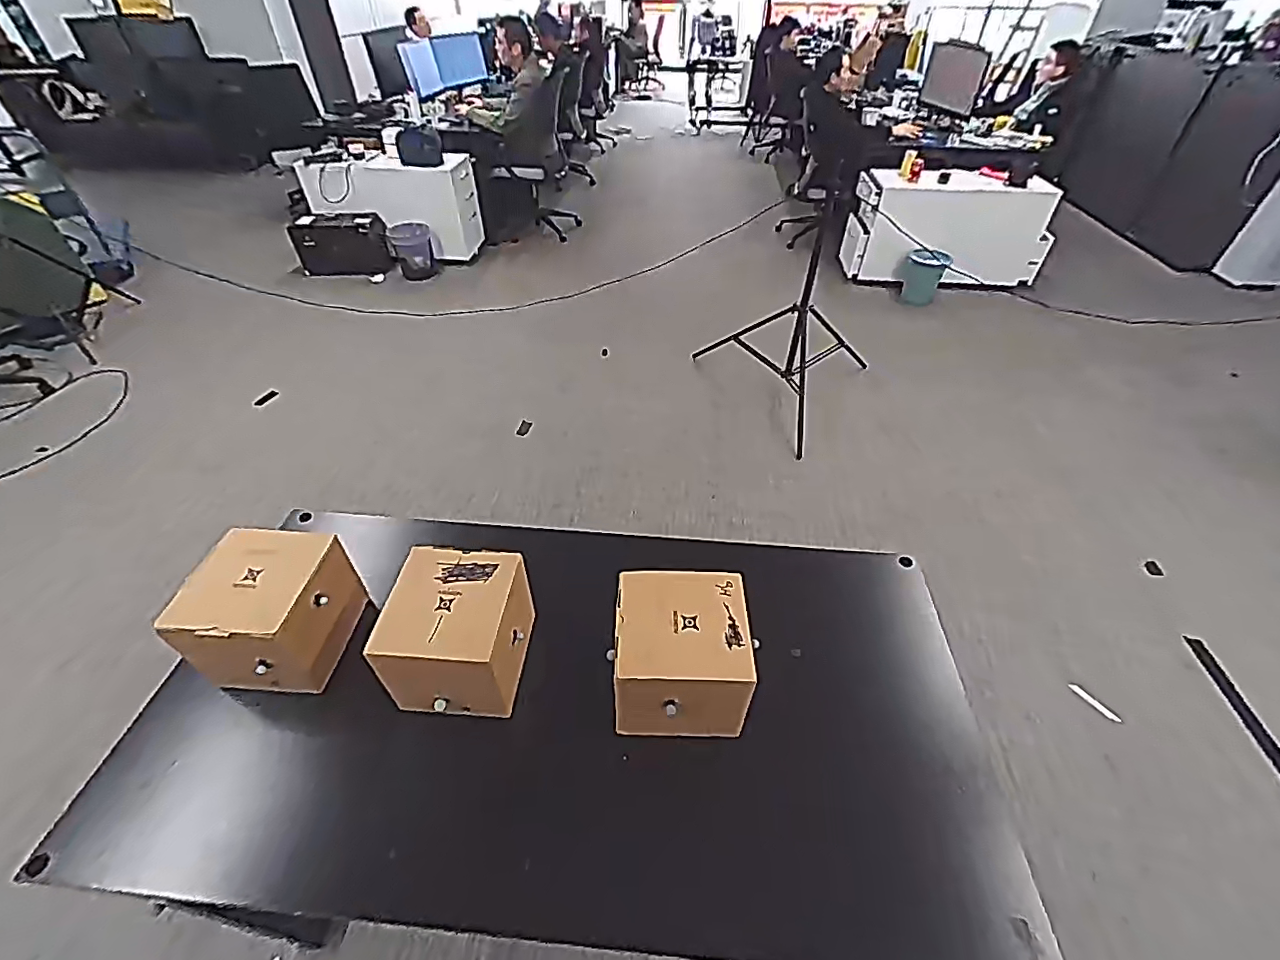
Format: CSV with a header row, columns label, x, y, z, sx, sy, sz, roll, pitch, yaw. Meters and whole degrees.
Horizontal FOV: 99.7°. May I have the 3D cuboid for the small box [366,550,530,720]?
label,x,y,z,sx,sy,sz,roll,pitch,yaw
small box,-0.264,0.226,0.796,0.168,0.176,0.179,3,44,3

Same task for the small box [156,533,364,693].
label,x,y,z,sx,sy,sz,roll,pitch,yaw
small box,-0.550,0.203,0.818,0.168,0.176,0.179,3,42,1

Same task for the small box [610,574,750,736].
label,x,y,z,sx,sy,sz,roll,pitch,yaw
small box,0.052,0.251,0.775,0.179,0.176,0.168,0,43,0
